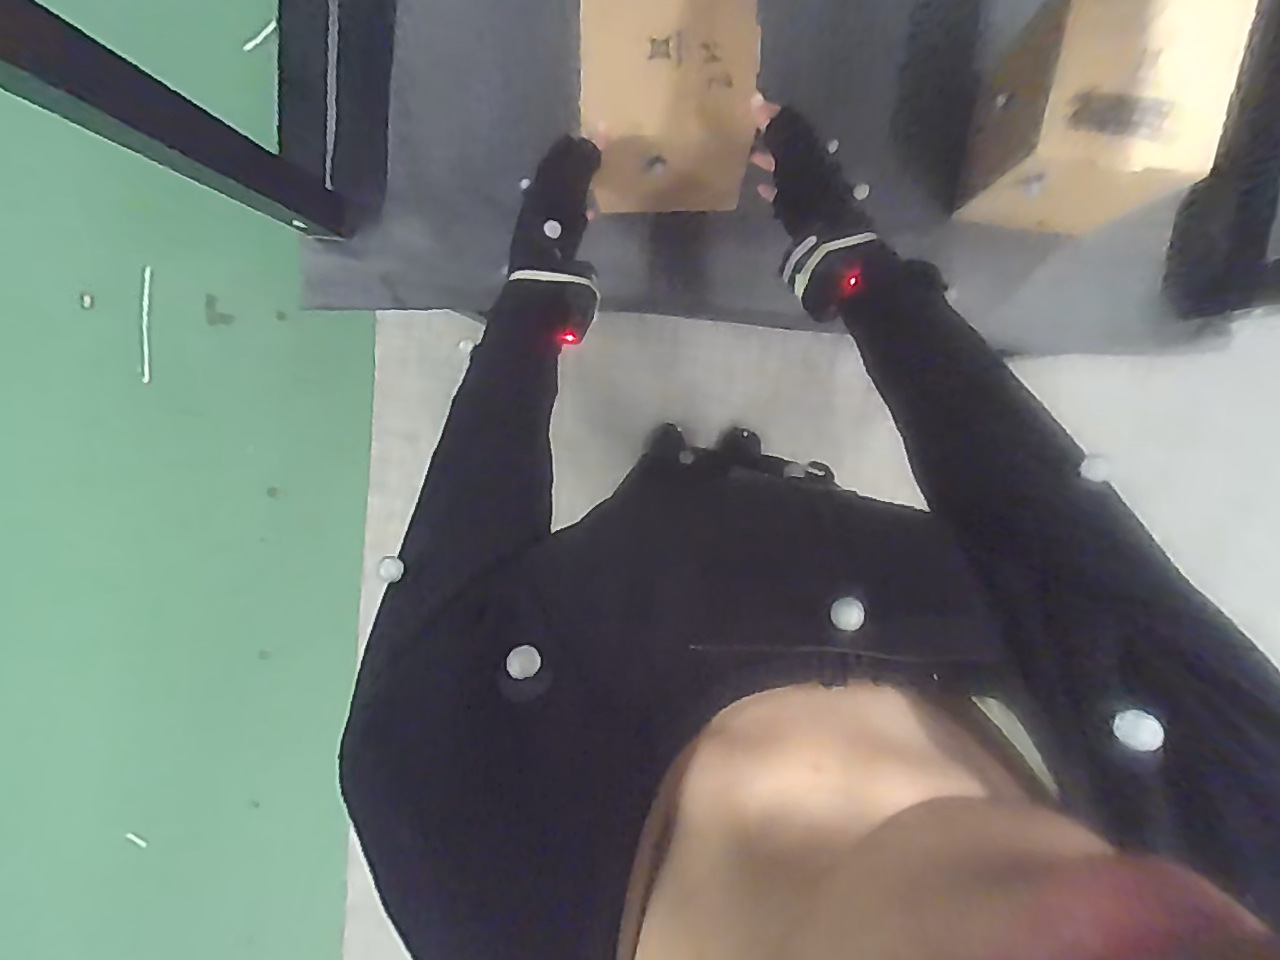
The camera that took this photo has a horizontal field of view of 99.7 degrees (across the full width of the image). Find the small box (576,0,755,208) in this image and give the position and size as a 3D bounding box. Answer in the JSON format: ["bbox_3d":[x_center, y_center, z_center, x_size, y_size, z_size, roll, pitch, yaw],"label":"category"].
[{"bbox_3d":[0.029,-0.423,0.608,0.179,0.176,0.168,1,94,3],"label":"small box"}]
